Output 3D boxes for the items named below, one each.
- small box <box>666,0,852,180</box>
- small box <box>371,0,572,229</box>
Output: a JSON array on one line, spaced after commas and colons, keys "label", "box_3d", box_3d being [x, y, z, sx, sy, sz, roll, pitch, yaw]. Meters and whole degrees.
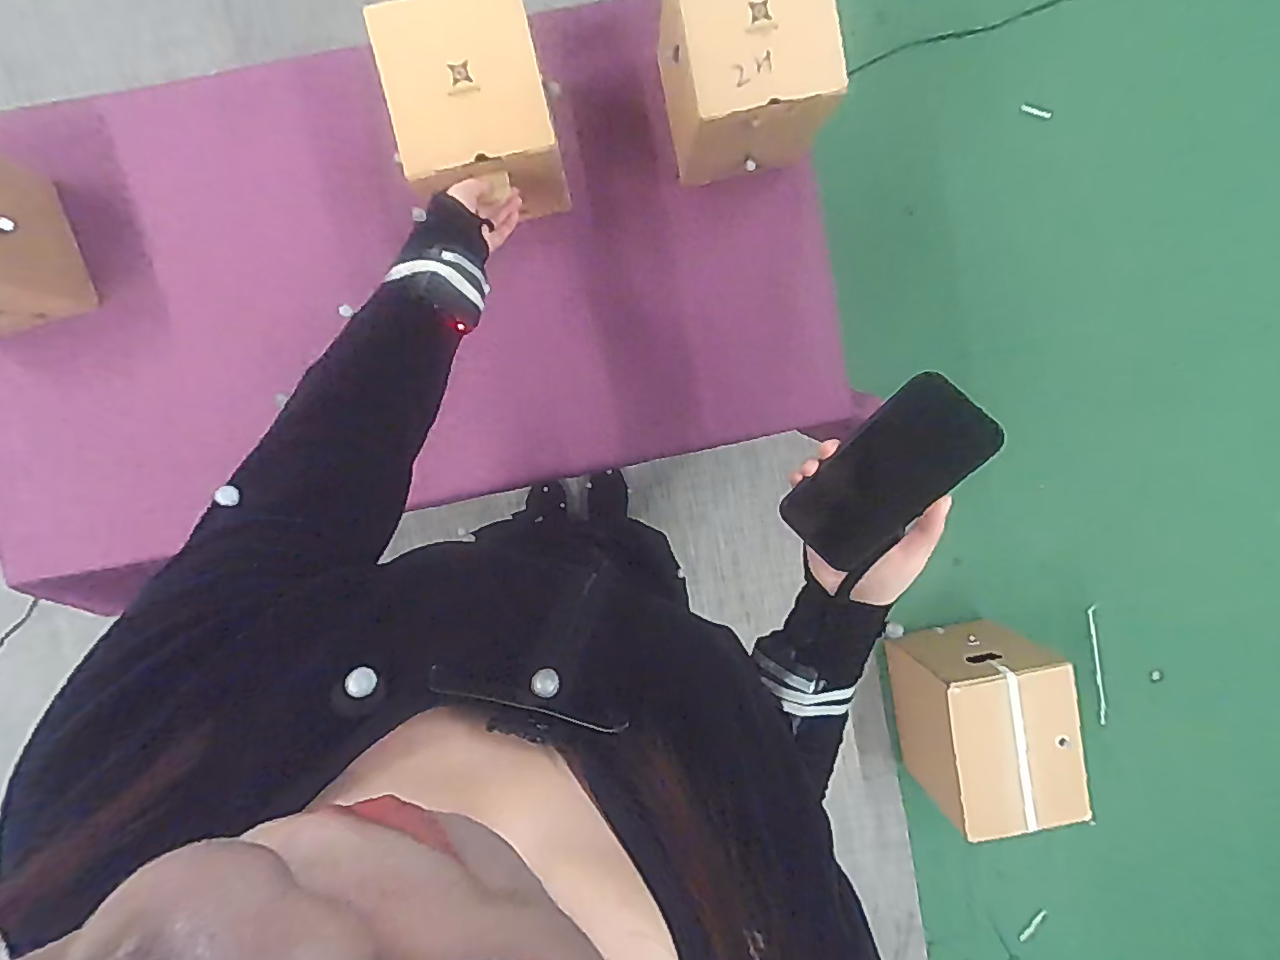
[{"label": "small box", "box_3d": [0.129, -0.496, 0.646, 0.168, 0.176, 0.179, -11, 96, 0]}, {"label": "small box", "box_3d": [-0.184, -0.431, 0.645, 0.168, 0.176, 0.179, -13, 96, 0]}]
